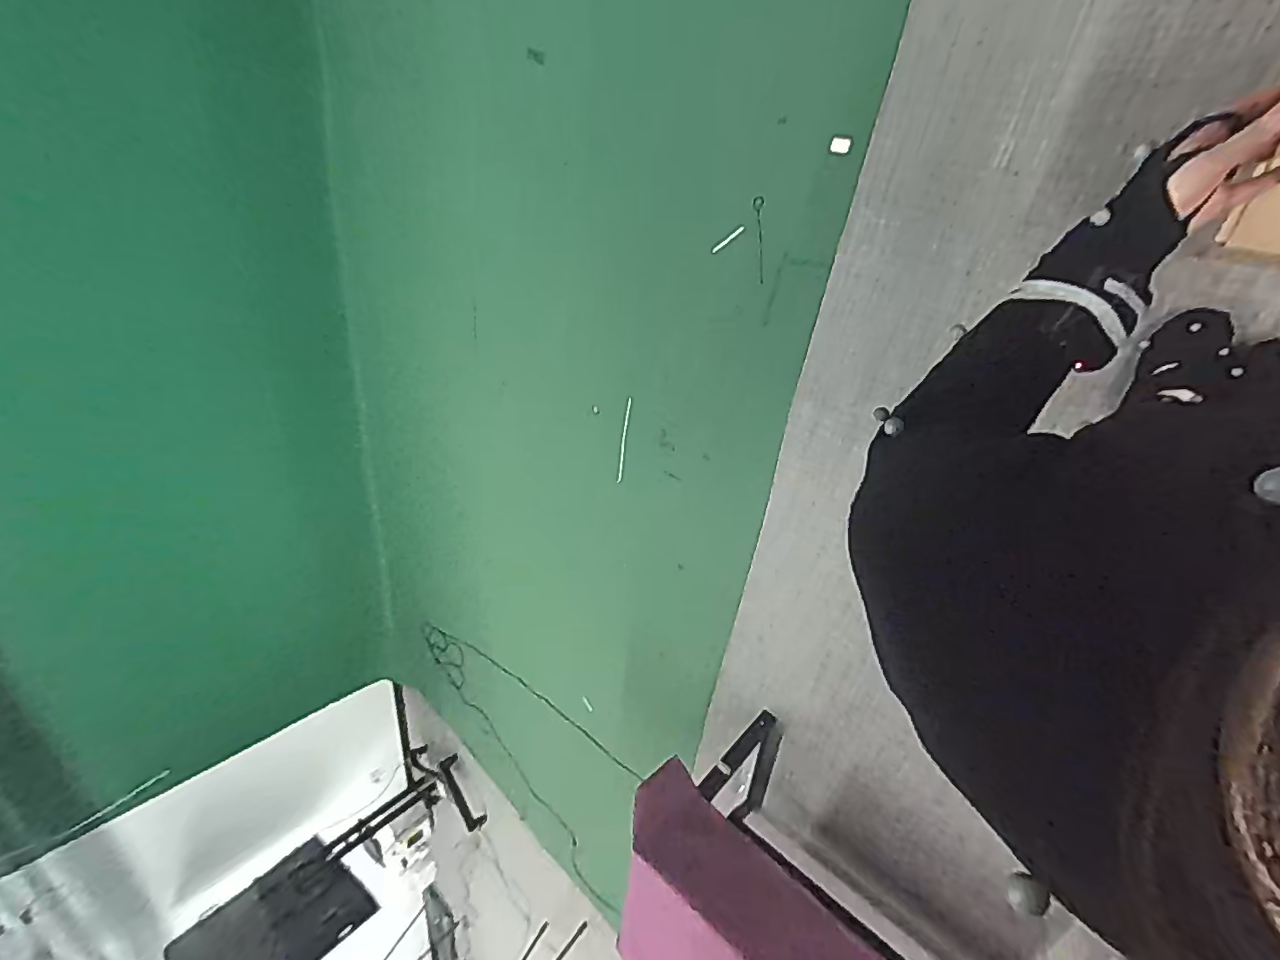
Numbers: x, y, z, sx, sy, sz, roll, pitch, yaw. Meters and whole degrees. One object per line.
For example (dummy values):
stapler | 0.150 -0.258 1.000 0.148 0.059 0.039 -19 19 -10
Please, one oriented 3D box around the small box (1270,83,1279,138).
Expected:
small box | 0.489 -0.268 0.275 0.168 0.176 0.179 20 130 28
